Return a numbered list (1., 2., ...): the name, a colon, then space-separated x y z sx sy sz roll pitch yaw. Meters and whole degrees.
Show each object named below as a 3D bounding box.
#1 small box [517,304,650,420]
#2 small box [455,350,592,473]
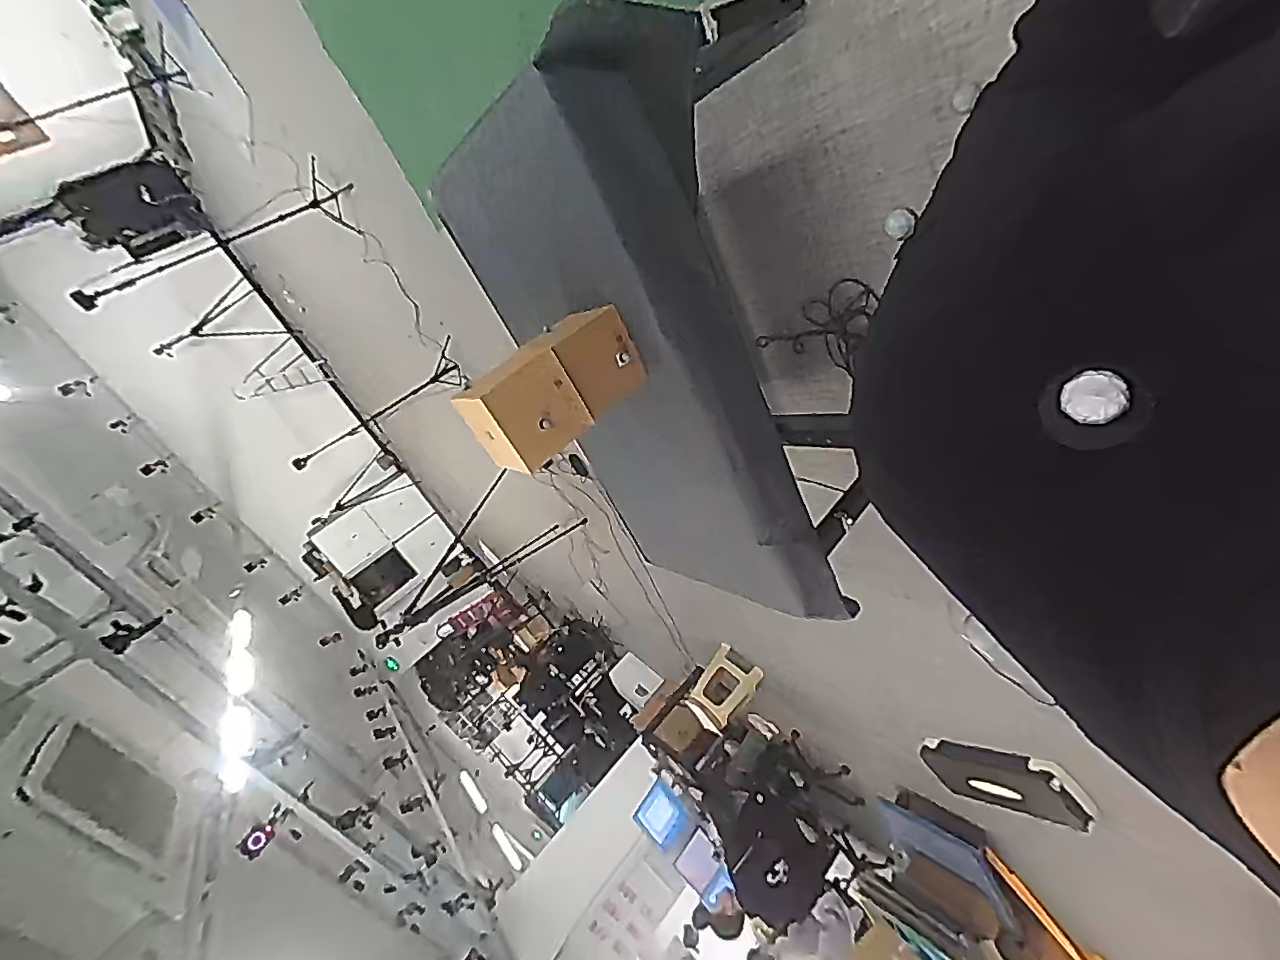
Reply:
1. small box: -0.112 -0.238 1.105 0.179 0.176 0.168 10 137 53
2. small box: -0.216 -0.135 1.034 0.179 0.176 0.168 11 138 55
